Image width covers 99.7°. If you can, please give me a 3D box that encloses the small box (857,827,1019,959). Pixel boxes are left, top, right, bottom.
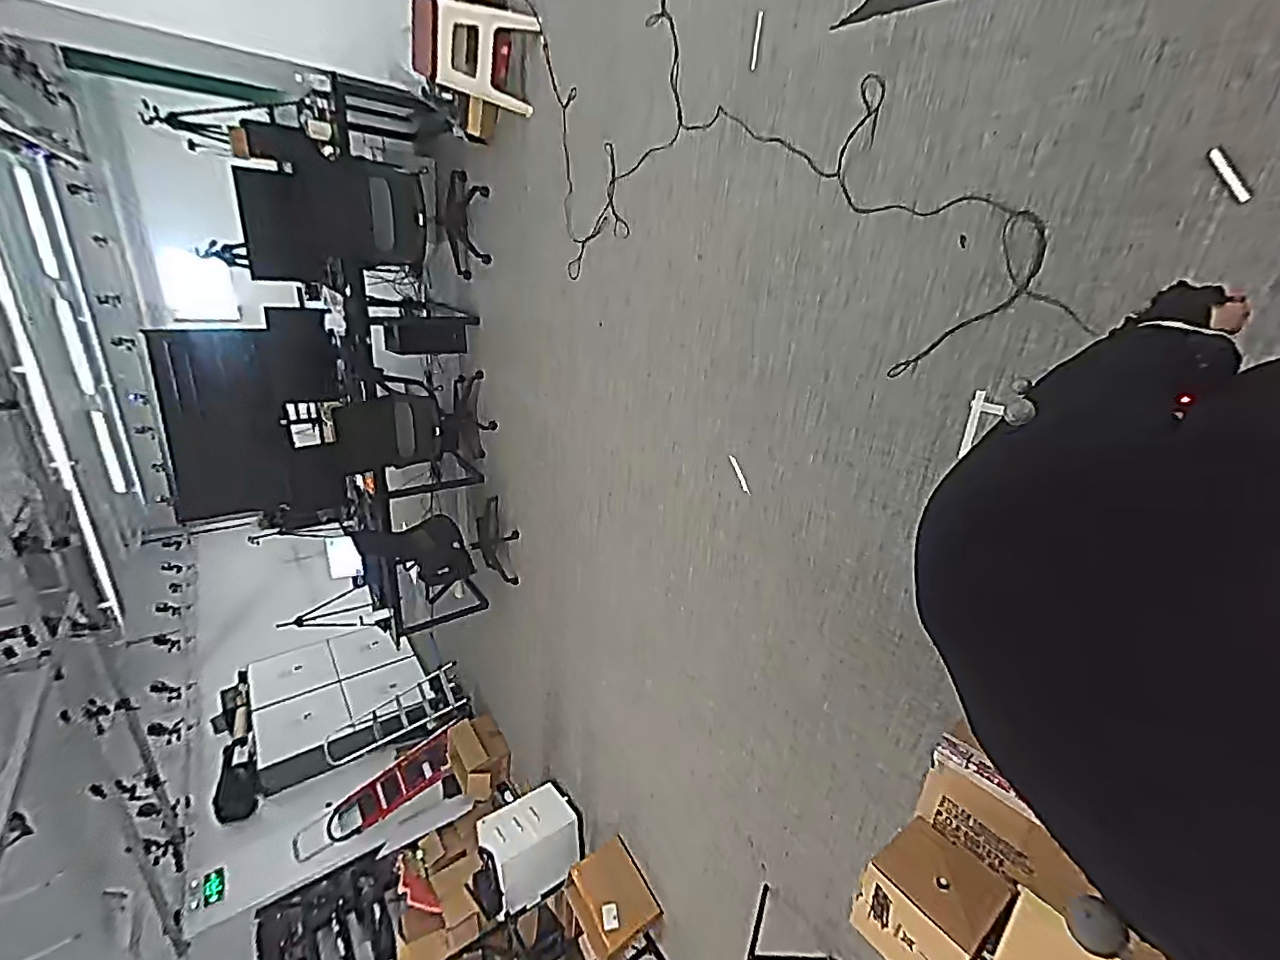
[{"bbox_3d":[0.530,0.768,0.971,0.179,0.176,0.168,30,122,48],"label":"small box"}]
